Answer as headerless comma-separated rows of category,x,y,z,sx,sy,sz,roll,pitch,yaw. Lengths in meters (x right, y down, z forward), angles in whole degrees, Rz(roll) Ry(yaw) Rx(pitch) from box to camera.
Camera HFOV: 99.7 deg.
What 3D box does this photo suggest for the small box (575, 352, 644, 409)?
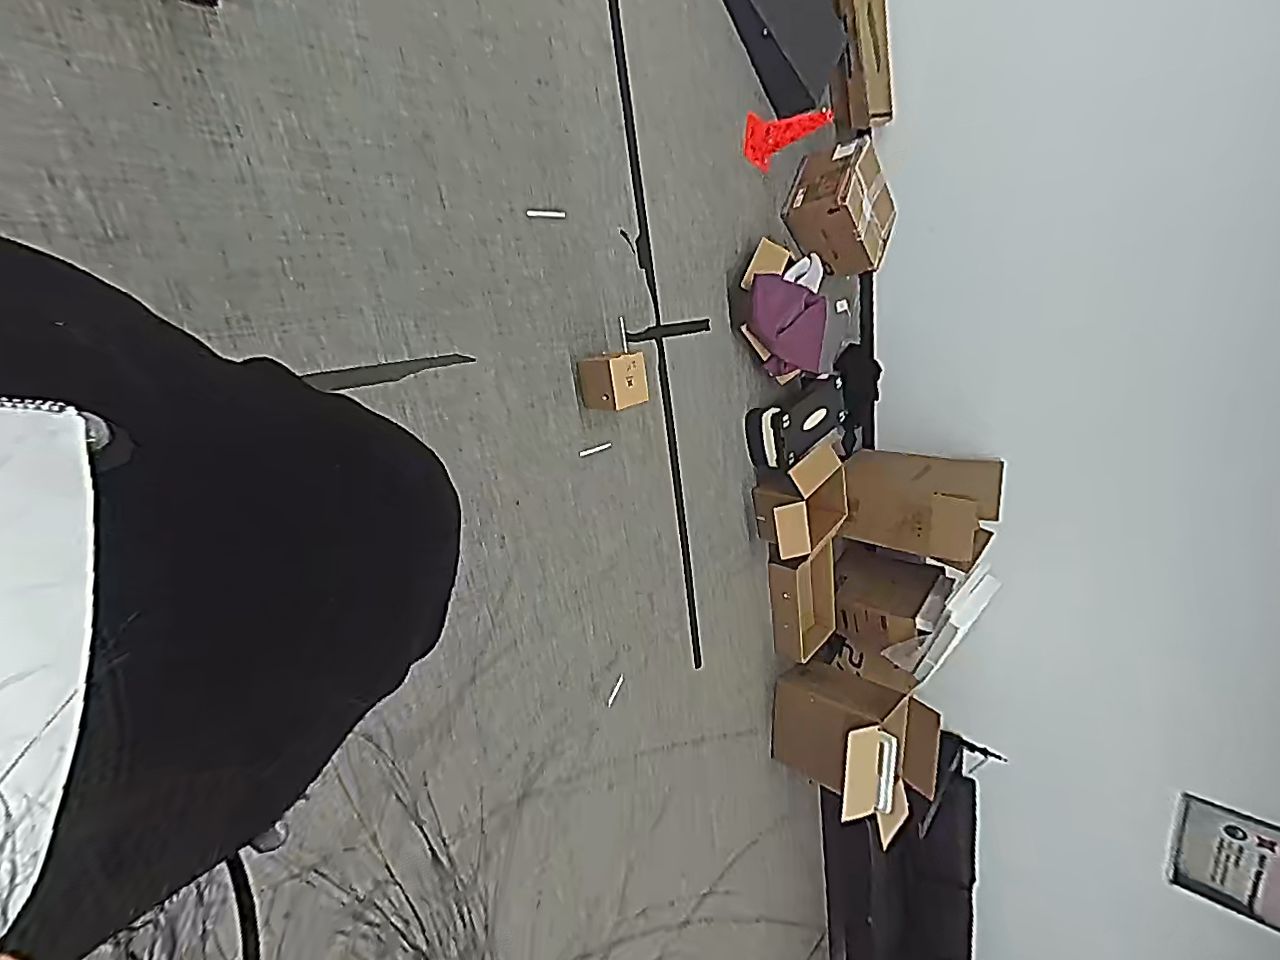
small box,-0.110,-0.356,1.920,0.168,0.176,0.179,-25,114,-41
